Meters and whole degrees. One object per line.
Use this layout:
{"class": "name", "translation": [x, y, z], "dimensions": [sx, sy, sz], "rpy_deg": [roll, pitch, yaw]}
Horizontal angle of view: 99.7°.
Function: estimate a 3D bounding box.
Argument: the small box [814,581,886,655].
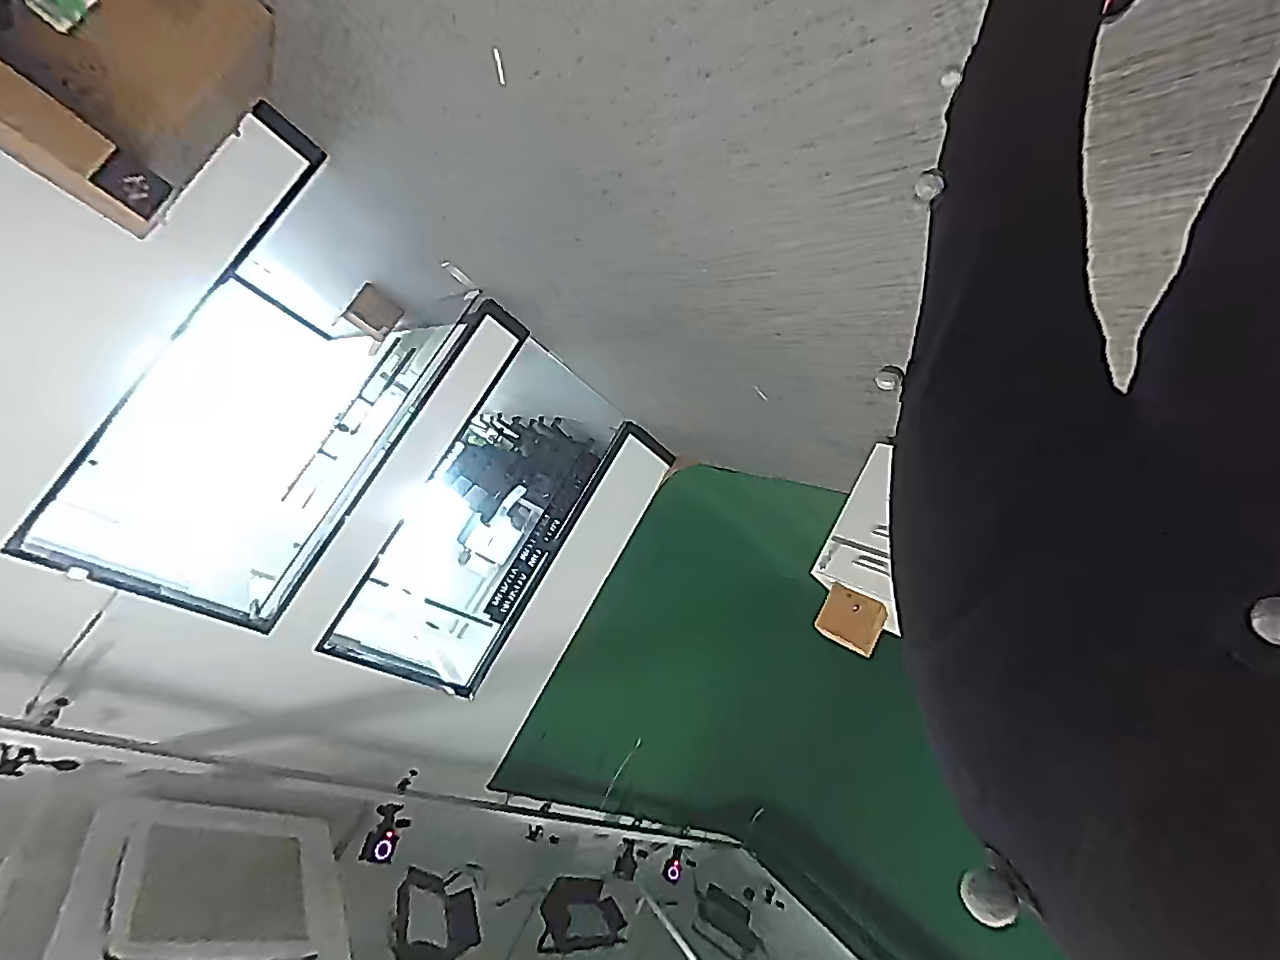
{"class": "small box", "translation": [0.719, 0.469, 1.839], "dimensions": [0.168, 0.176, 0.179], "rpy_deg": [23, 168, 37]}
